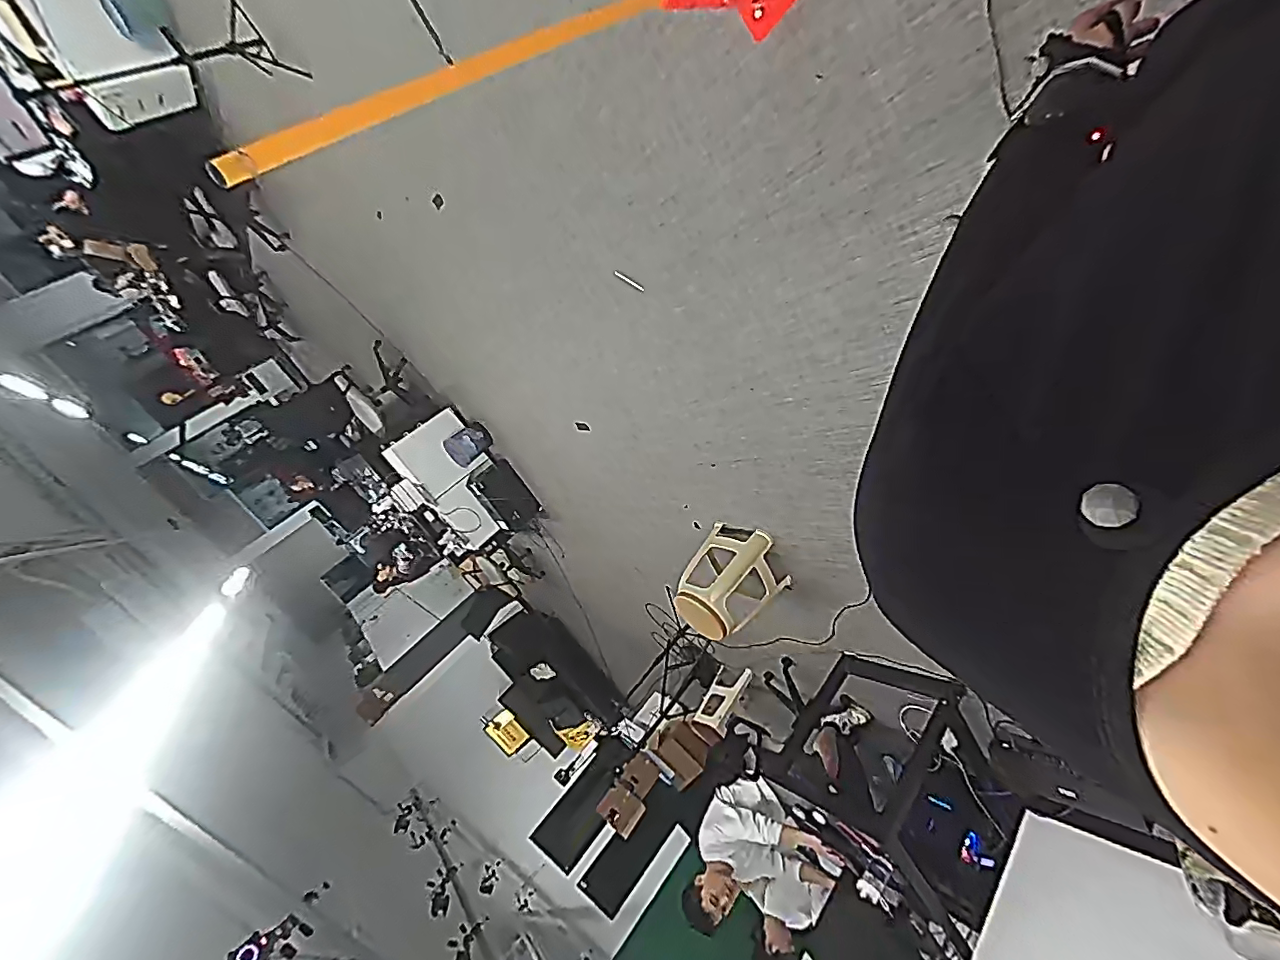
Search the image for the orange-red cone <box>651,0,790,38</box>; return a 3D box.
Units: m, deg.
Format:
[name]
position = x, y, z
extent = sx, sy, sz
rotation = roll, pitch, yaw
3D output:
[orange-red cone]
position = 0.144, -0.977, 1.047
extent = 0.198, 0.360, 0.199
rotation = 54, 151, -14
